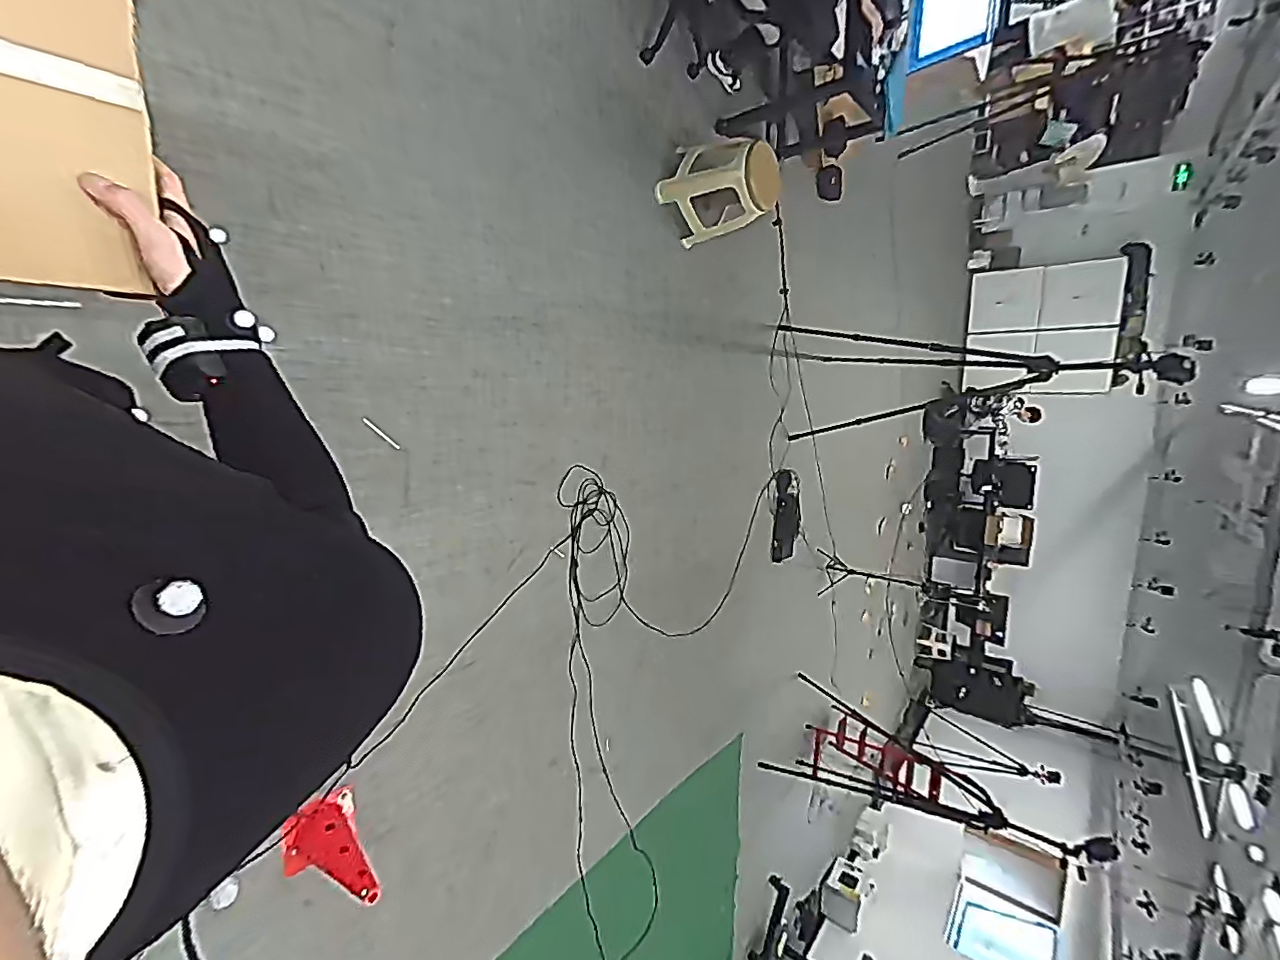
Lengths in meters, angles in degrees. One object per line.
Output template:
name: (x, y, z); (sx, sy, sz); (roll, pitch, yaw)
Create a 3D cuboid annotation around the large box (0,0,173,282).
large box: (-0.655, -0.342, 0.396); (0.408, 0.320, 0.320); (-13, 120, -48)
